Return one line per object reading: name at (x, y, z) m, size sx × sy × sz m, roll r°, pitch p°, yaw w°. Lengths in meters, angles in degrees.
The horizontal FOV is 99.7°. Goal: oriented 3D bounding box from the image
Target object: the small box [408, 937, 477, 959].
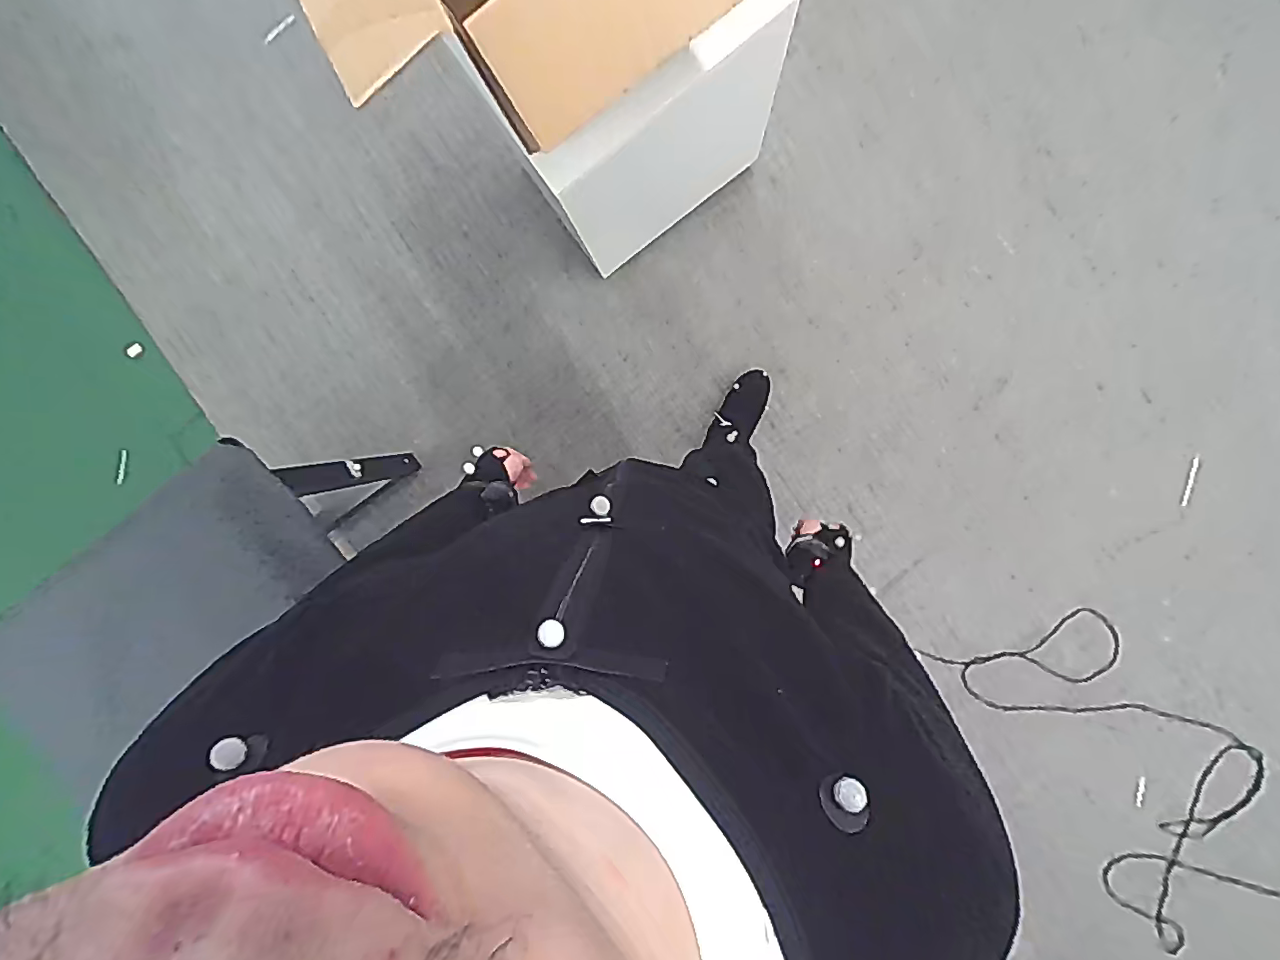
small box at (-0.348, 0.911, 0.882) m, size 0.179 × 0.176 × 0.168 m, roll -33°, pitch 92°, yaw 8°
